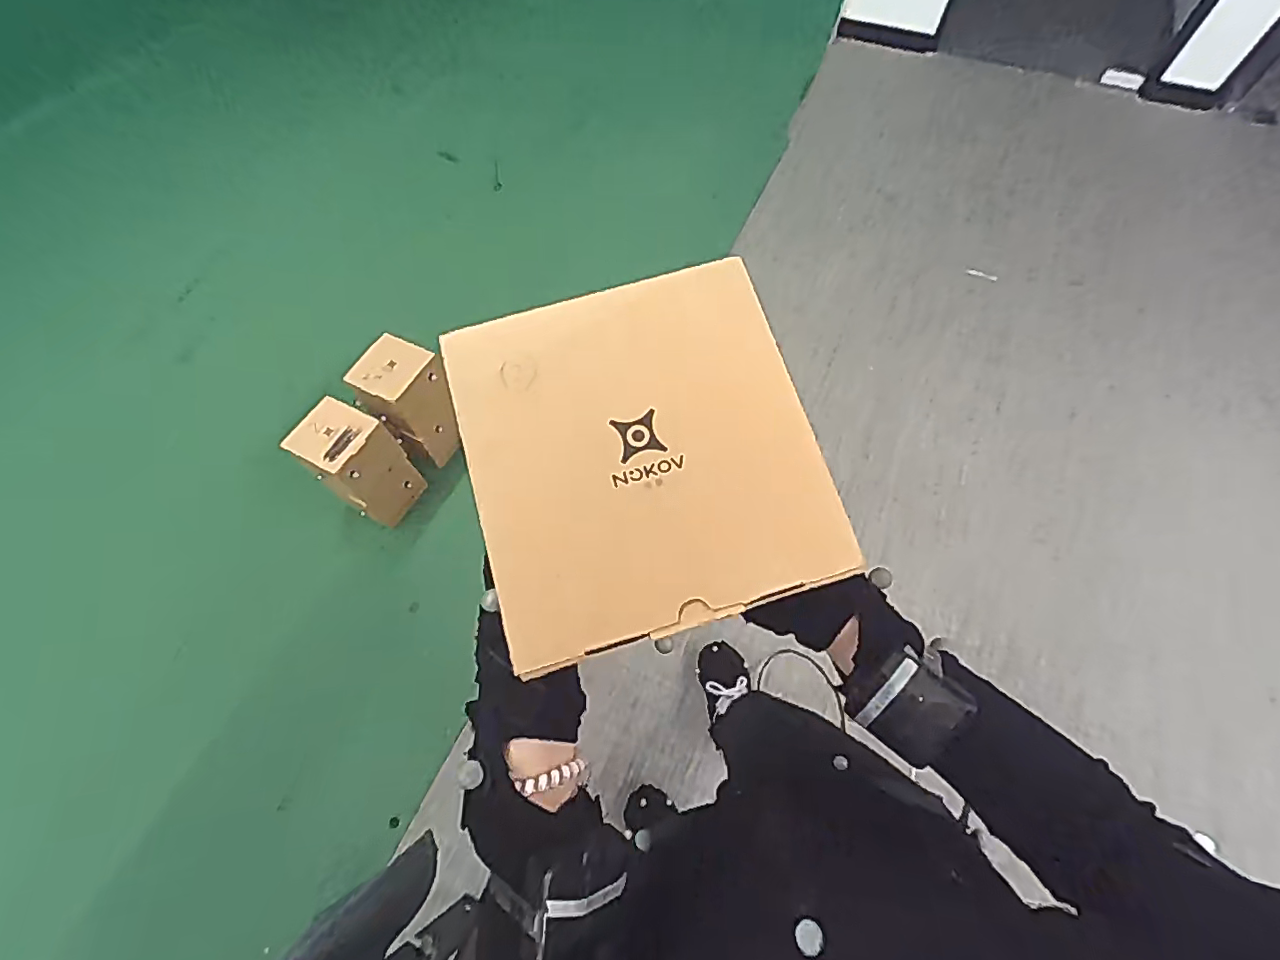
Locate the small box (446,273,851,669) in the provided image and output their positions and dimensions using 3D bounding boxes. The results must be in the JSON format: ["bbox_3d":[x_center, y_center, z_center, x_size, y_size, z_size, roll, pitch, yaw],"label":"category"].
[{"bbox_3d":[-0.002,0.007,0.347,0.168,0.176,0.179,-17,75,-4],"label":"small box"}]

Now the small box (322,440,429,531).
[{"bbox_3d":[-0.731,0.023,1.519,0.179,0.176,0.168,26,66,14],"label":"small box"}]
